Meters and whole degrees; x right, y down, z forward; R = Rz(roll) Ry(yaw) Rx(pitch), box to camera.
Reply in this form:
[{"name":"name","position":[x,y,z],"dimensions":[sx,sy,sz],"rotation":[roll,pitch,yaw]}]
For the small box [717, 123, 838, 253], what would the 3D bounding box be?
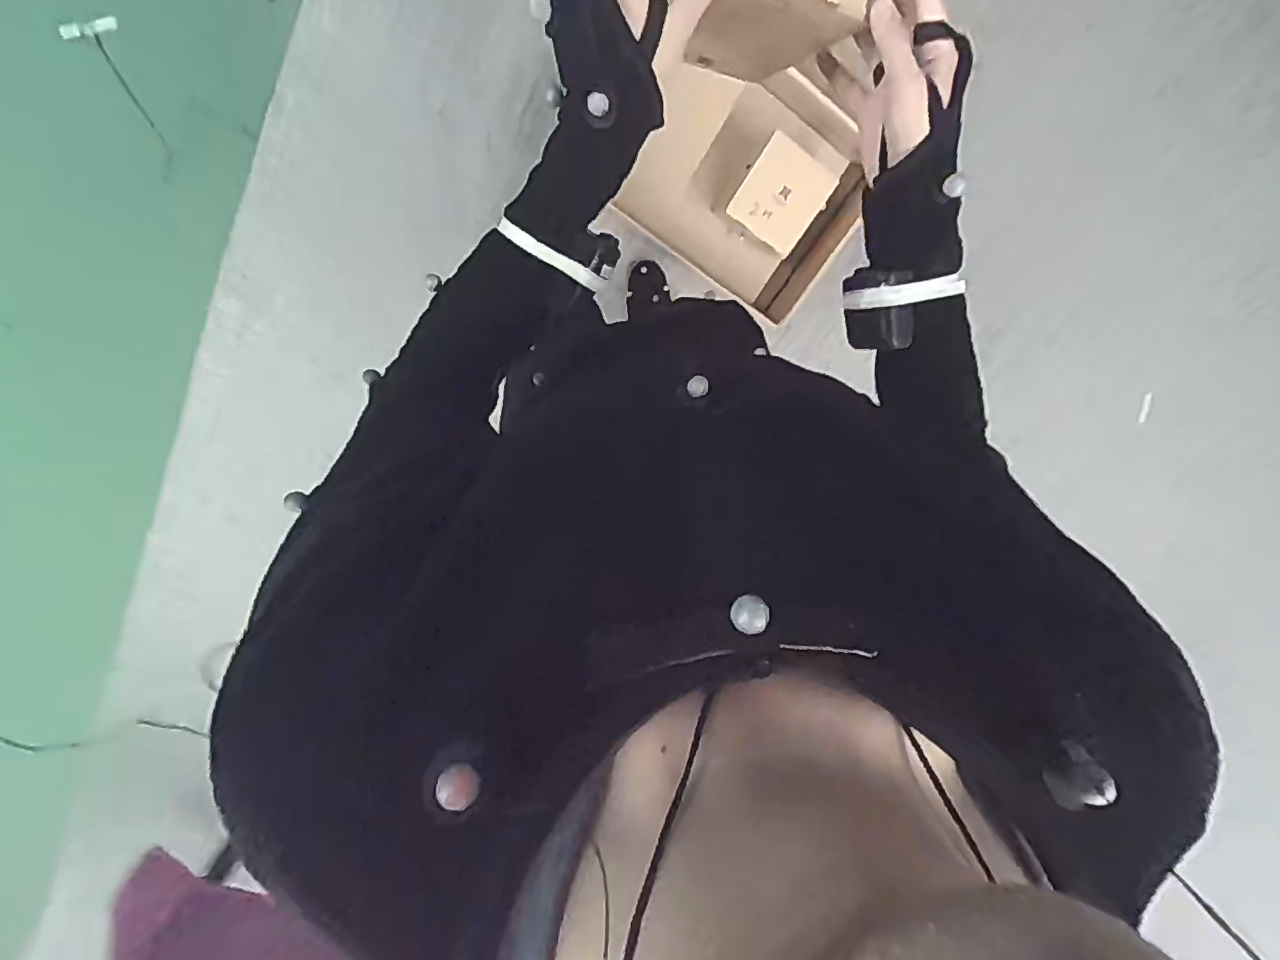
[{"name":"small box","position":[0.282,-0.616,1.160],"dimensions":[0.168,0.176,0.179],"rotation":[31,110,-14]}]
